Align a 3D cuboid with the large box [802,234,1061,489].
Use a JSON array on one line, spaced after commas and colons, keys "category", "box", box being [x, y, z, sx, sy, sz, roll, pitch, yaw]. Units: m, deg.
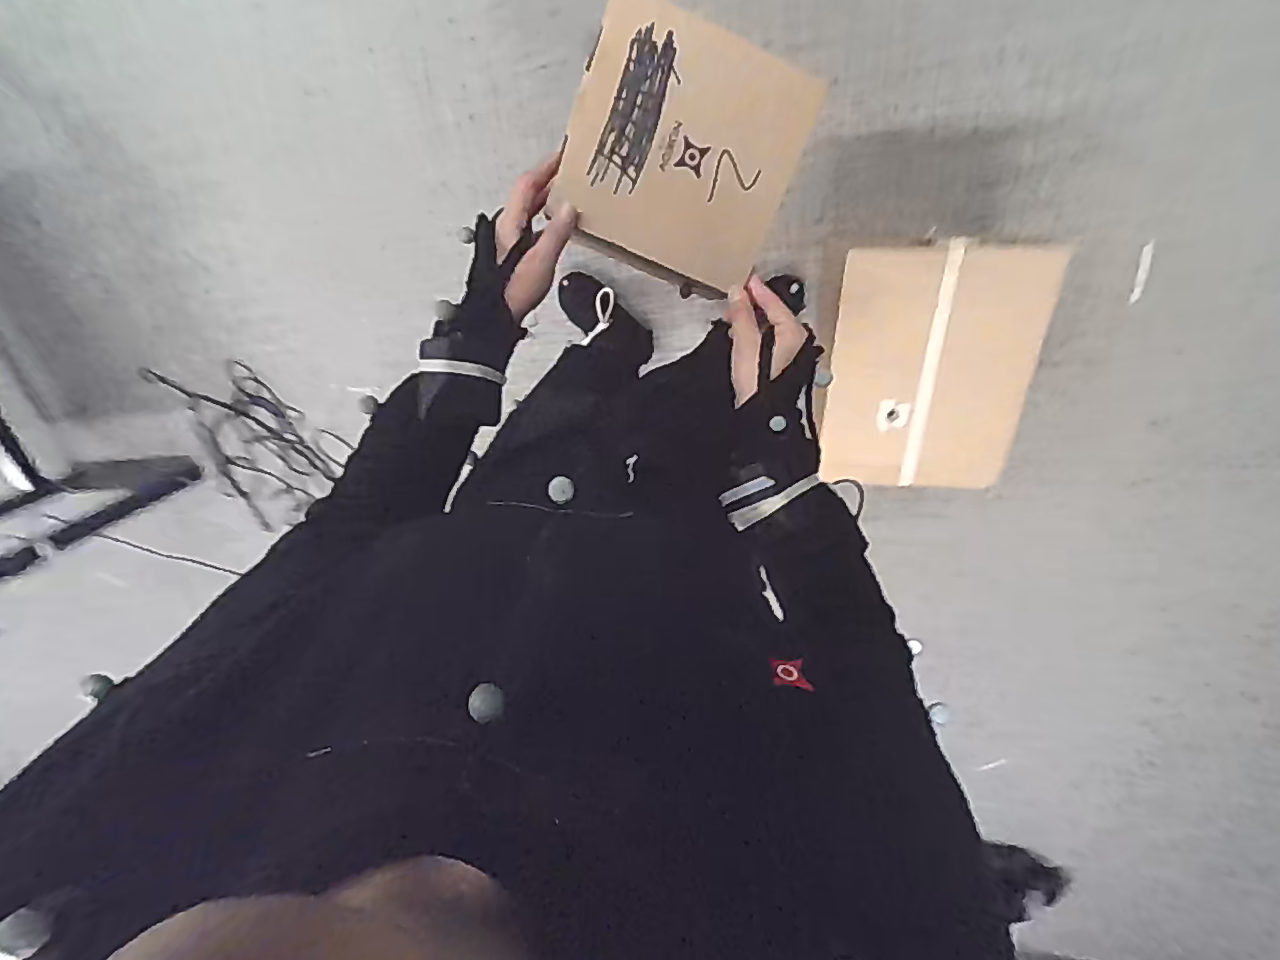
[{"category": "large box", "box": [0.499, -0.236, 1.031, 0.320, 0.320, 0.408, 4, 119, 10]}]
